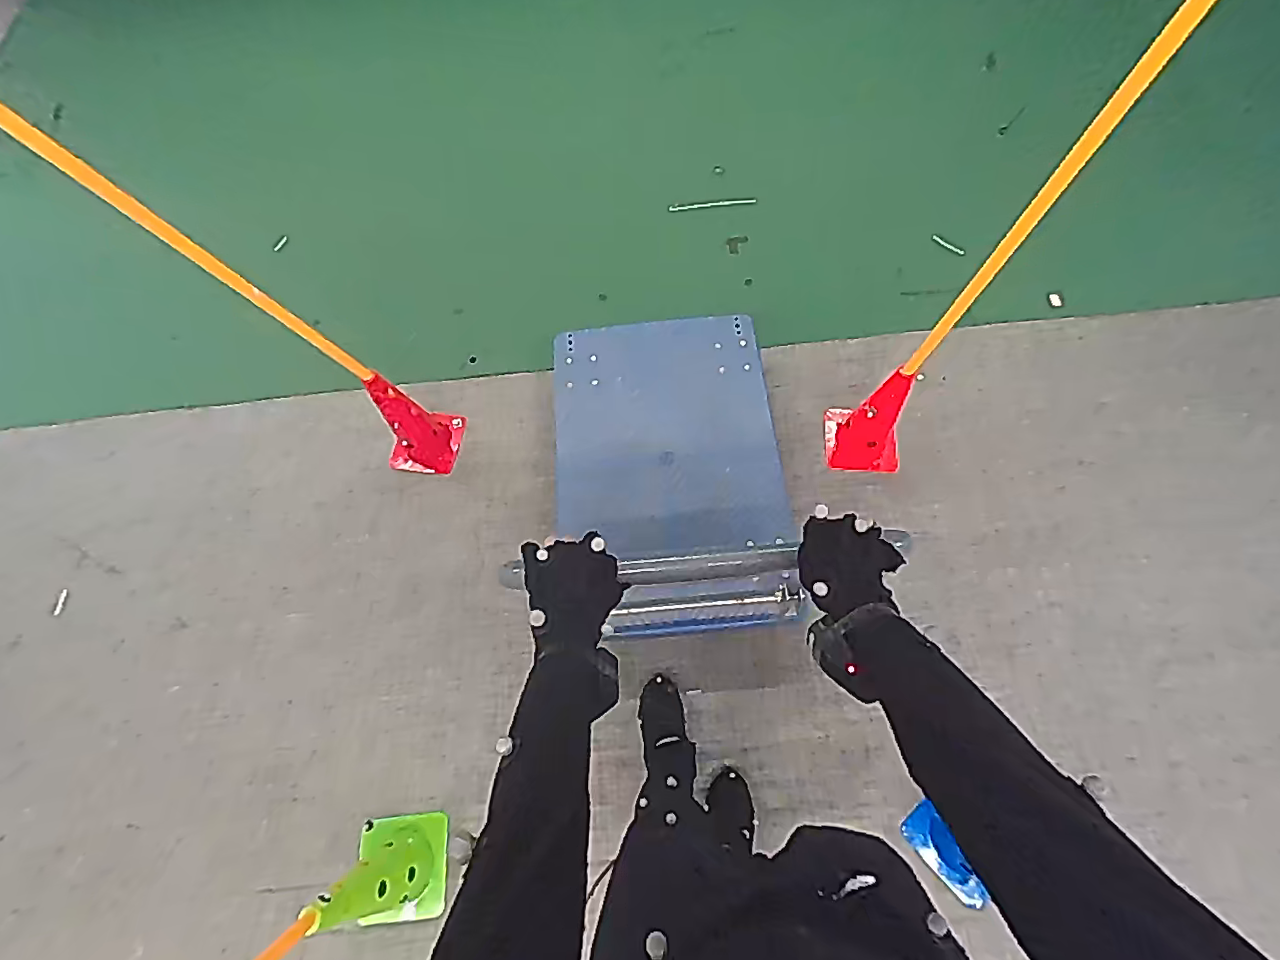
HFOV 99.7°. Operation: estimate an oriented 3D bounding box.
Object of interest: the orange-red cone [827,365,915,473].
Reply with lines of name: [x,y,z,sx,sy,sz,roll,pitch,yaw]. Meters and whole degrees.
orange-red cone: [0.634,-0.182,1.413,0.198,0.360,0.199,5,68,6]
